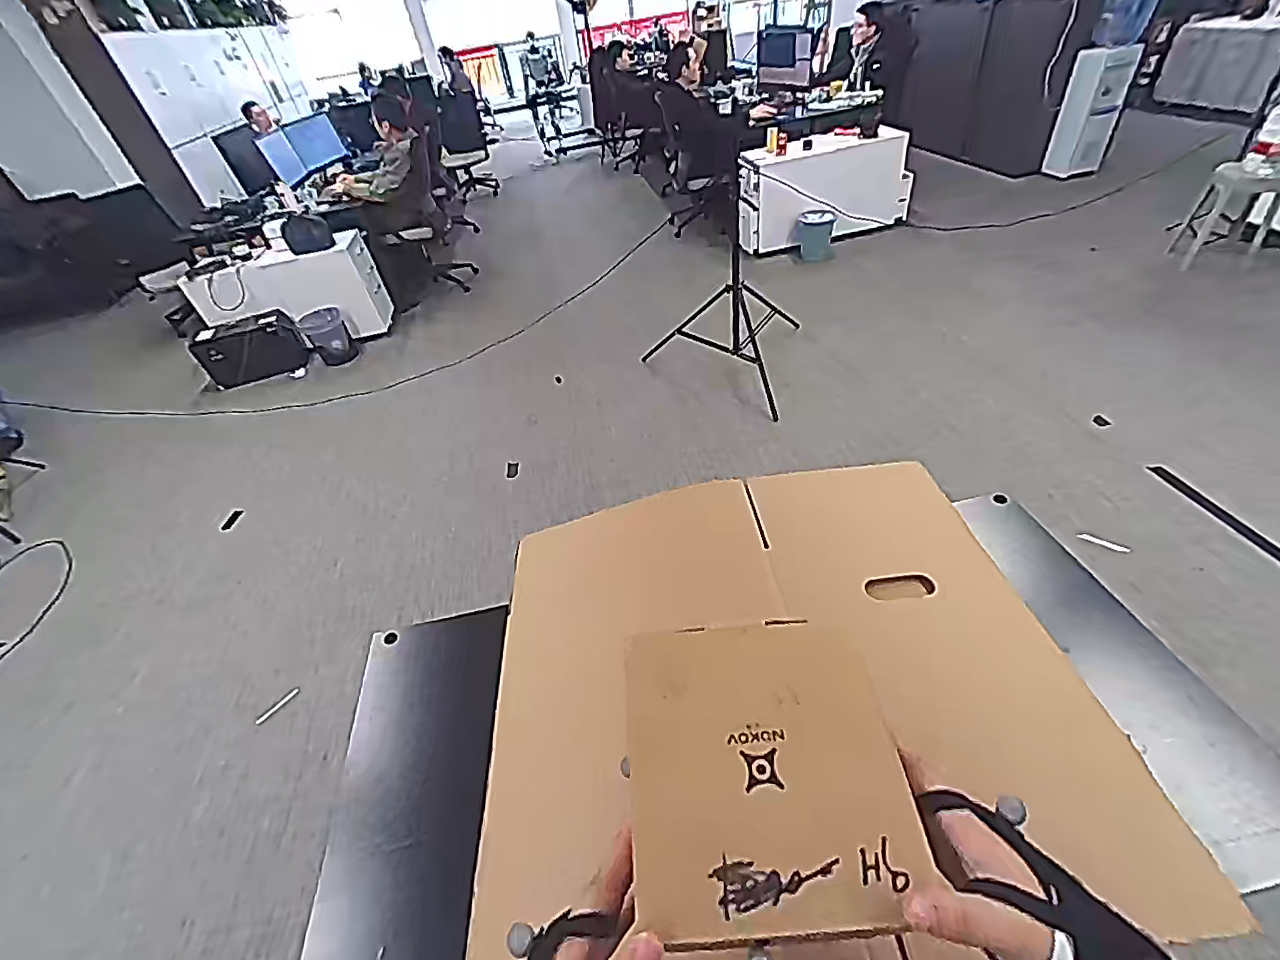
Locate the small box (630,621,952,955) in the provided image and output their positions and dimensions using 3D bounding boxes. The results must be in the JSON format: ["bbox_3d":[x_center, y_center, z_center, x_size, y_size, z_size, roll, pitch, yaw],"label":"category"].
[{"bbox_3d":[0.083,0.226,0.395,0.168,0.176,0.179,-6,49,2],"label":"small box"}]
